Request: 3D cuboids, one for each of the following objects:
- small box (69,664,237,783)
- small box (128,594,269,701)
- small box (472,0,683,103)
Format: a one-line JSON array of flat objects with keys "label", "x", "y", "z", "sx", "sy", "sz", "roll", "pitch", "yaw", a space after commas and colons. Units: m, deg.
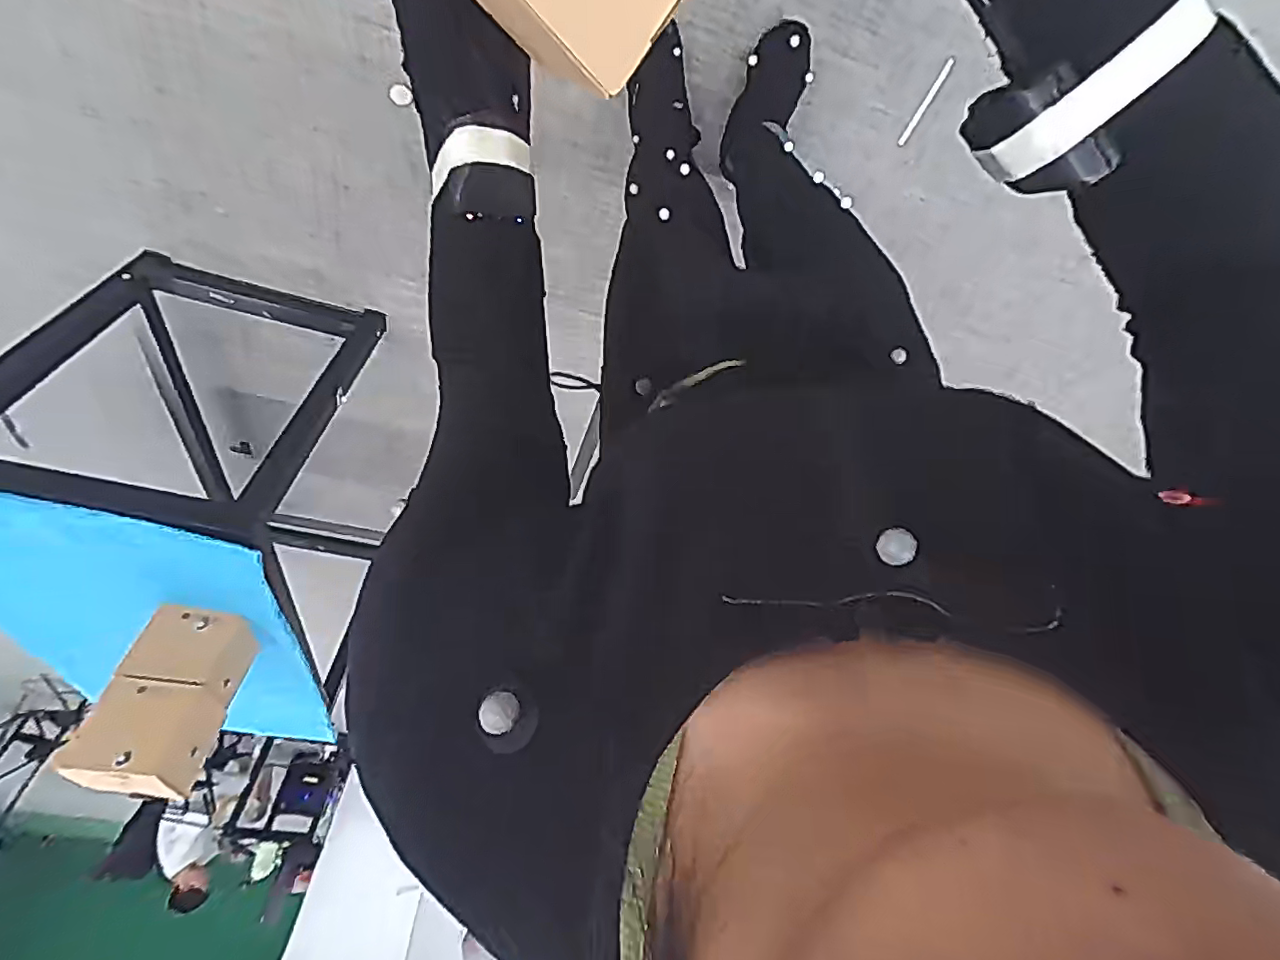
[{"label": "small box", "x": -0.971, "y": 0.498, "z": 1.103, "sx": 0.168, "sy": 0.176, "sz": 0.179, "roll": 11, "pitch": 137, "yaw": -8}, {"label": "small box", "x": -0.972, "y": 0.379, "z": 1.214, "sx": 0.168, "sy": 0.176, "sz": 0.179, "roll": 13, "pitch": 138, "yaw": -11}, {"label": "small box", "x": -0.051, "y": -0.339, "z": 0.267, "sx": 0.168, "sy": 0.176, "sz": 0.179, "roll": -43, "pitch": 137, "yaw": 17}]
